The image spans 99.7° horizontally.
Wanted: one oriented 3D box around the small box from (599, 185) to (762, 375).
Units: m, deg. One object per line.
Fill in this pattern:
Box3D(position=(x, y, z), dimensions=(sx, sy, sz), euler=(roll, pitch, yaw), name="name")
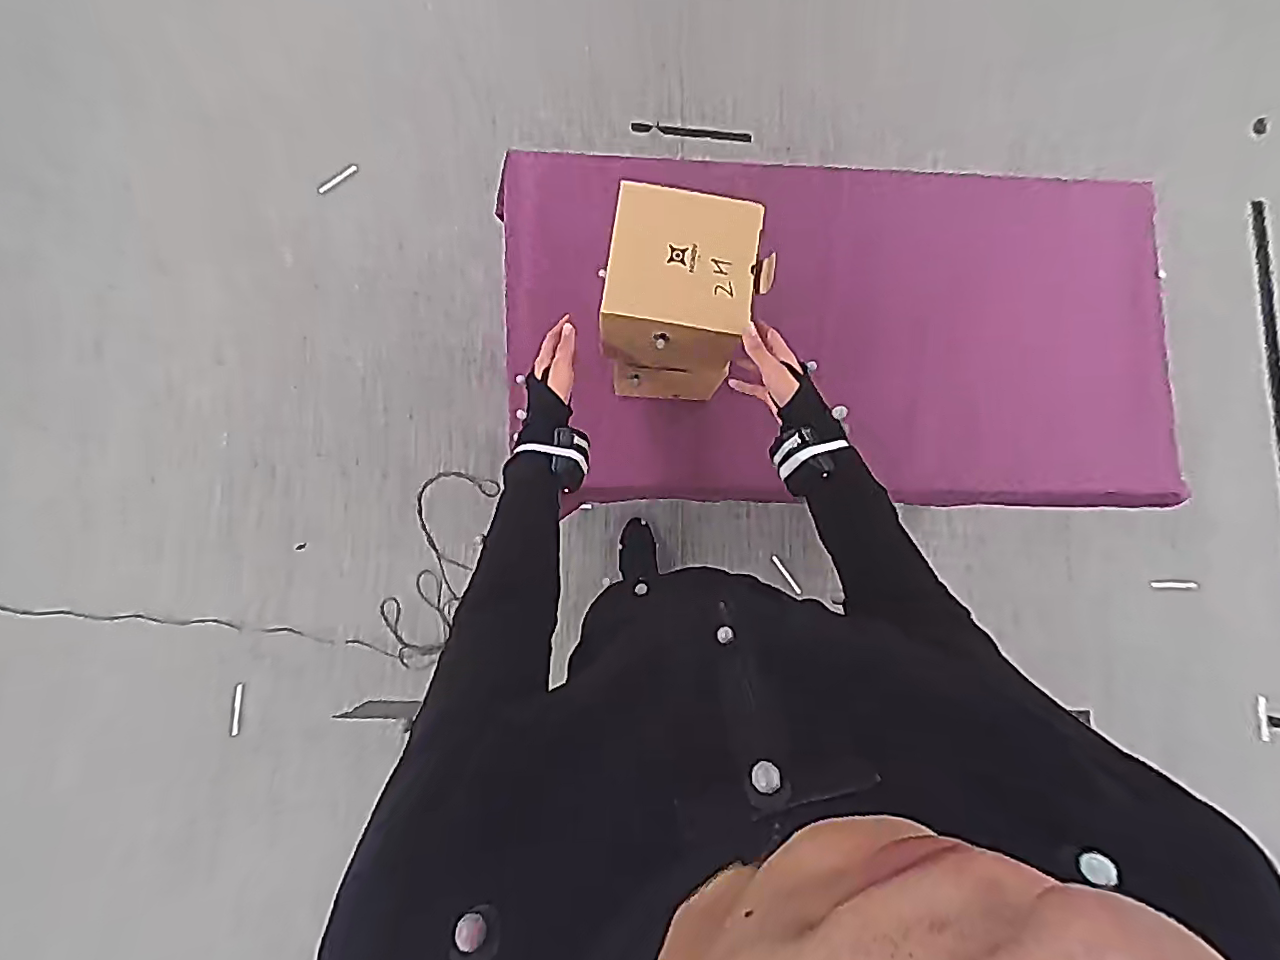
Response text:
Box3D(position=(0.044, -0.249, 0.713), dimensions=(0.179, 0.176, 0.168), euler=(9, 84, -3), name="small box")
